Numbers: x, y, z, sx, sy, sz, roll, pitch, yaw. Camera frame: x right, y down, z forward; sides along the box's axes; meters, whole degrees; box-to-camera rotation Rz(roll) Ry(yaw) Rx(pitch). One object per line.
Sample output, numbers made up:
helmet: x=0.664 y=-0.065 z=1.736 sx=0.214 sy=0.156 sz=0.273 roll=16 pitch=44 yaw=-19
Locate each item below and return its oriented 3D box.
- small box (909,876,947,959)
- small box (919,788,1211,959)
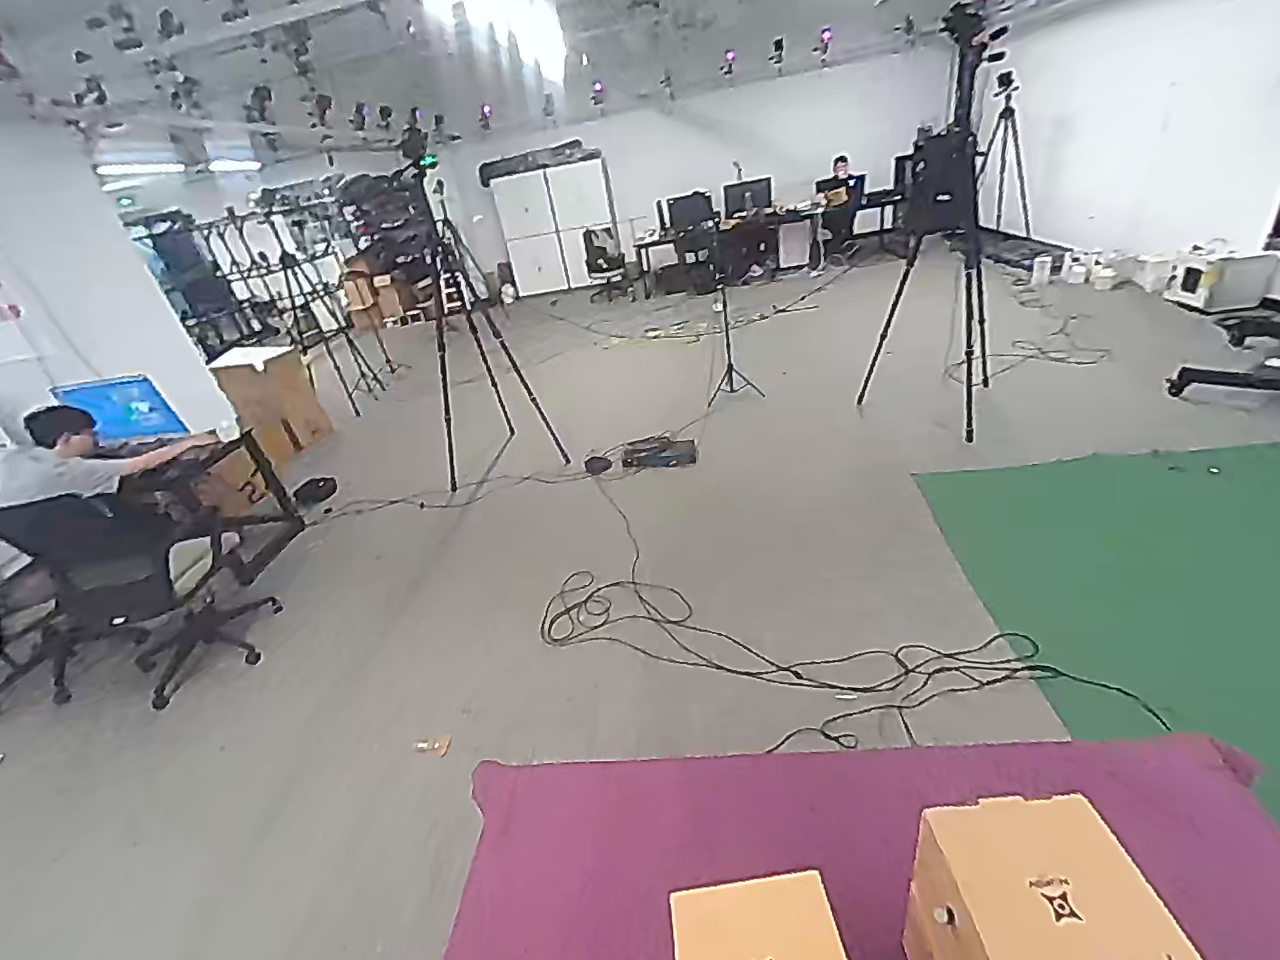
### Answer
small box: x=0.423 y=0.582 z=0.612 sx=0.168 sy=0.176 sz=0.179 roll=-8 pitch=30 yaw=6
small box: x=0.395 y=0.442 z=0.531 sx=0.168 sy=0.176 sz=0.179 roll=-9 pitch=29 yaw=5
